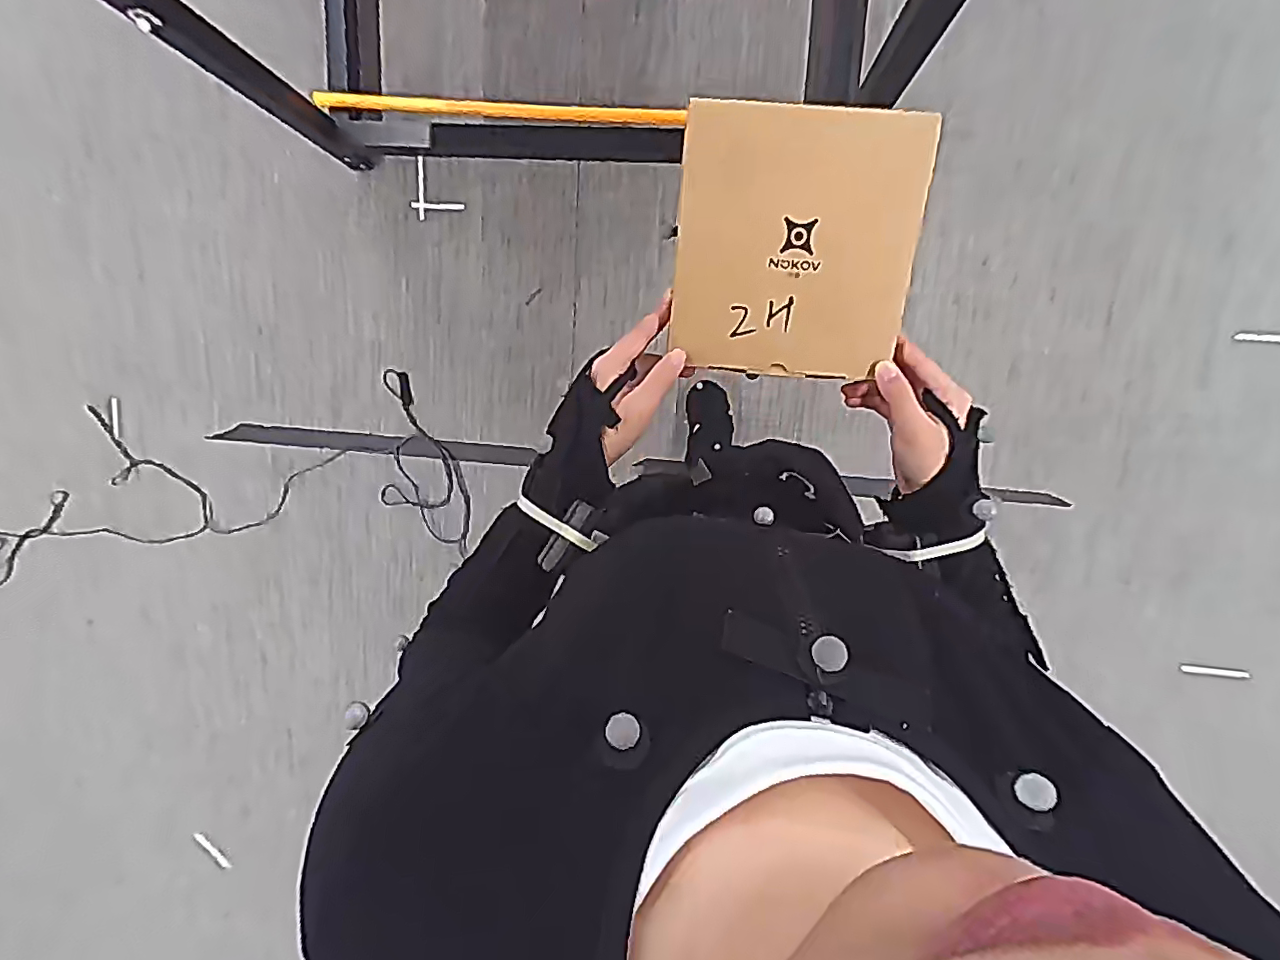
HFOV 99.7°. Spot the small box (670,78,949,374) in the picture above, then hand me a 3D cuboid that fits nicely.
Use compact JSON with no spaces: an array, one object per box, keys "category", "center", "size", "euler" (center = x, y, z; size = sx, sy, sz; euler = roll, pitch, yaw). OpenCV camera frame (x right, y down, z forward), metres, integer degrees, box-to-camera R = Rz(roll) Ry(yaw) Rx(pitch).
[{"category":"small box","center":[0.114,-0.189,0.445],"size":[0.168,0.176,0.179],"euler":[6,107,2]}]
